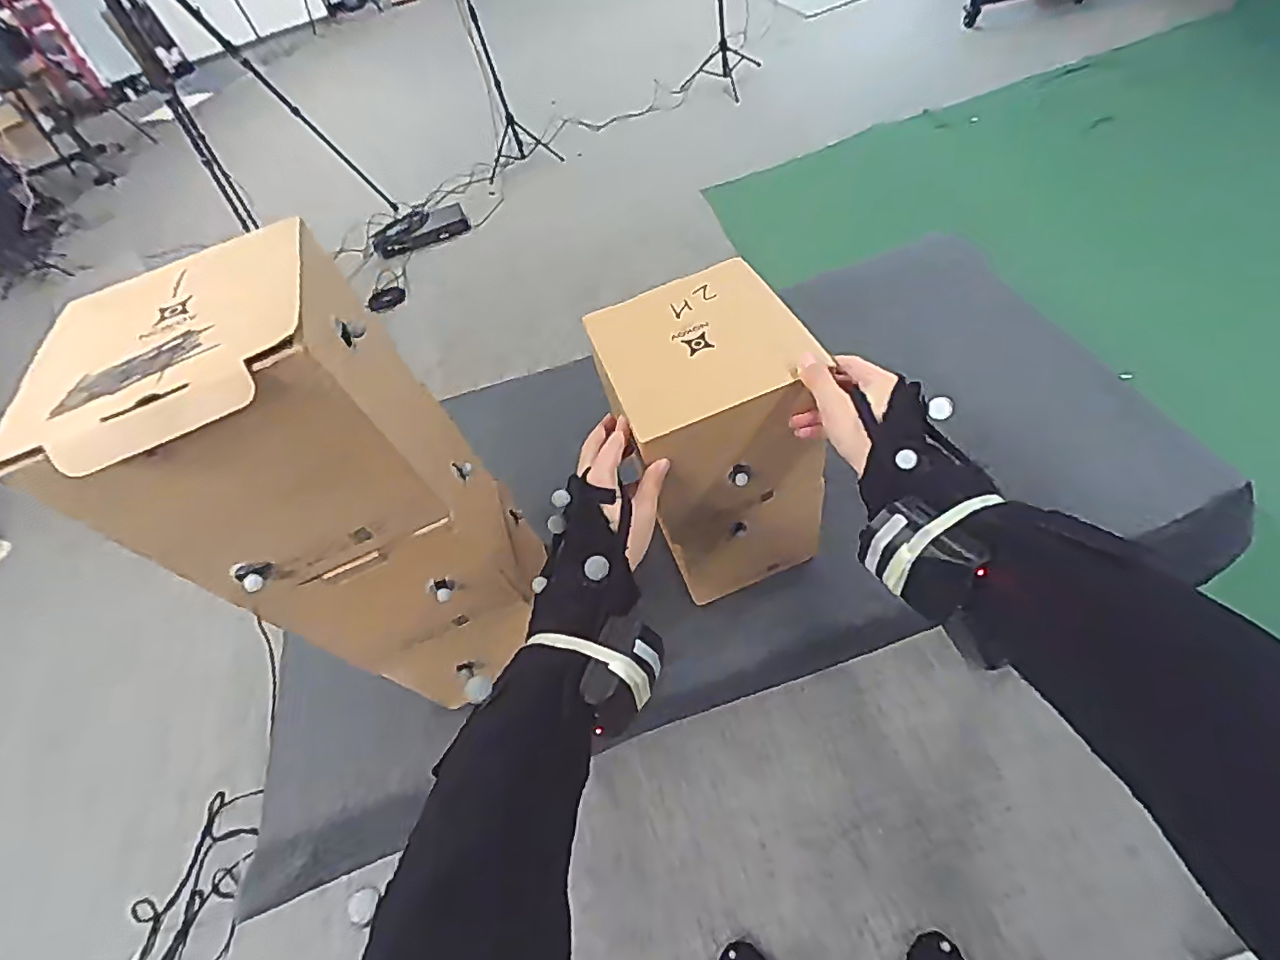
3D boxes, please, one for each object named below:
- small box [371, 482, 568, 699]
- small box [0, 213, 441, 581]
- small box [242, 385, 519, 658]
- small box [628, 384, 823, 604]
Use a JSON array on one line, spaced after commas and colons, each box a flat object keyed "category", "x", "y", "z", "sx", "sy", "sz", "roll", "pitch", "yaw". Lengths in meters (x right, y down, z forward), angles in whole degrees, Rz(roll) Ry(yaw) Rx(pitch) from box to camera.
[{"category": "small box", "x": -0.200, "y": 0.140, "z": 0.645, "sx": 0.168, "sy": 0.176, "sz": 0.179, "roll": -23, "pitch": 52, "yaw": -4}, {"category": "small box", "x": -0.263, "y": -0.050, "z": 0.387, "sx": 0.168, "sy": 0.176, "sz": 0.179, "roll": -24, "pitch": 52, "yaw": -6}, {"category": "small box", "x": -0.232, "y": 0.048, "z": 0.516, "sx": 0.168, "sy": 0.176, "sz": 0.179, "roll": -23, "pitch": 51, "yaw": -6}, {"category": "small box", "x": 0.100, "y": 0.021, "z": 0.661, "sx": 0.168, "sy": 0.176, "sz": 0.179, "roll": -22, "pitch": 52, "yaw": -3}]
